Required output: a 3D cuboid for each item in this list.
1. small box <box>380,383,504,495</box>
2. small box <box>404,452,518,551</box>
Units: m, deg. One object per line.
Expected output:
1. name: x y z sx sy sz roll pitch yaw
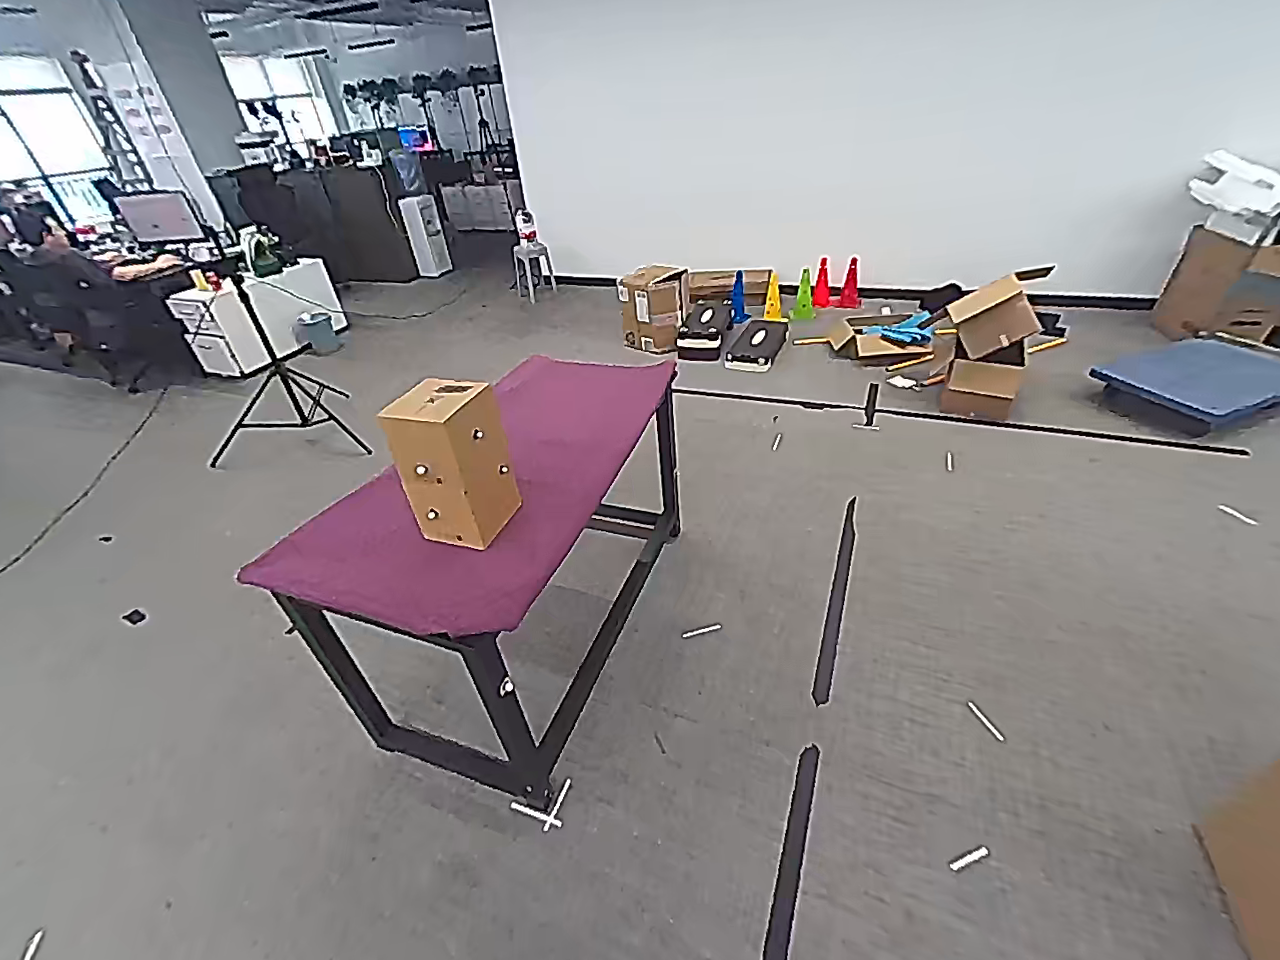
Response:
1. small box: -0.410 -0.091 1.159 0.168 0.176 0.179 7 37 18
2. small box: -0.402 0.043 1.254 0.168 0.176 0.179 7 37 18
